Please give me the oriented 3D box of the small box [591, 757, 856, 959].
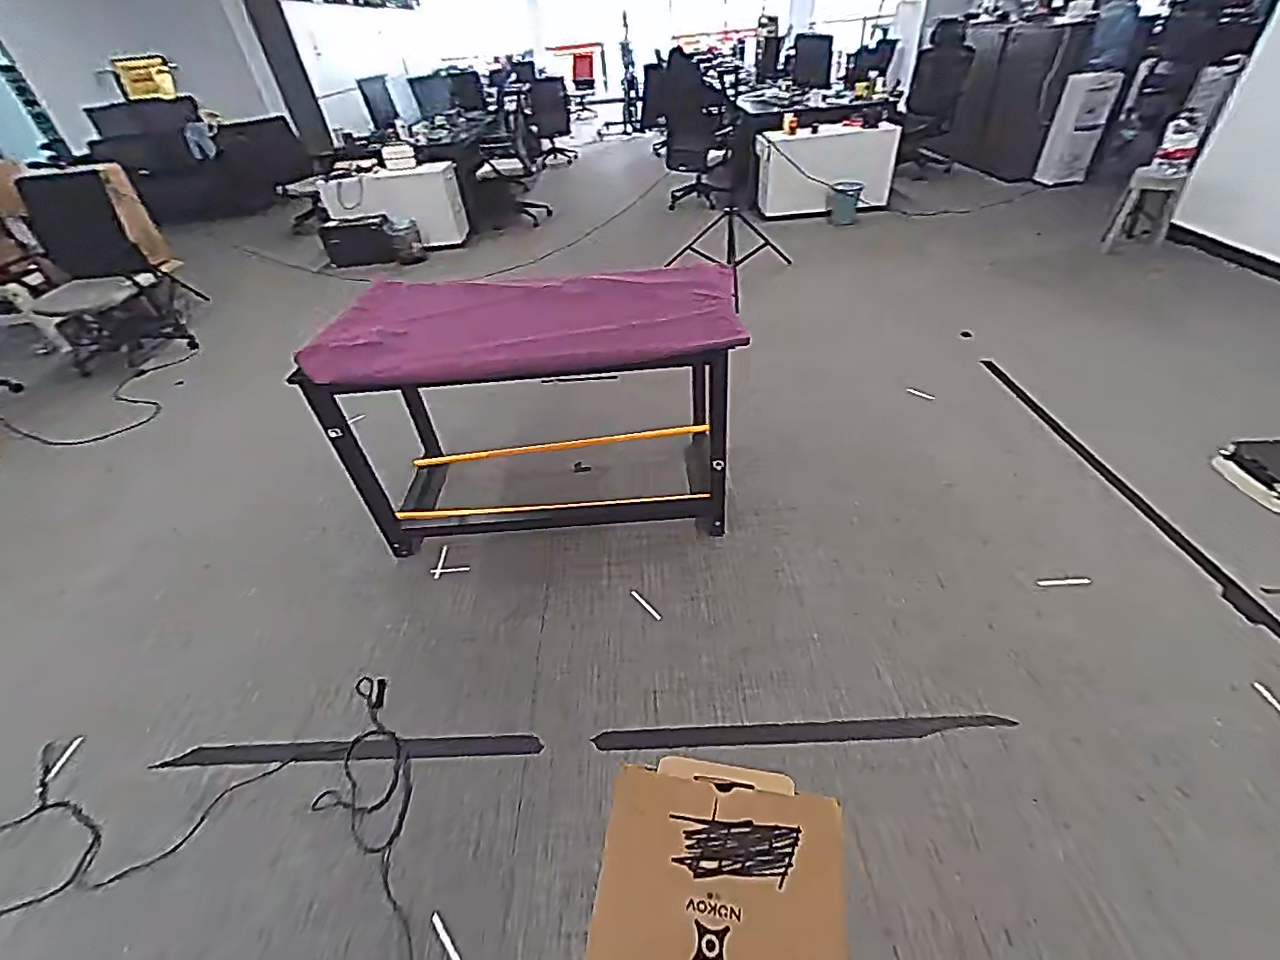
[{"bbox_3d":[0.066,0.338,0.412,0.168,0.176,0.179,2,51,14],"label":"small box"}]
